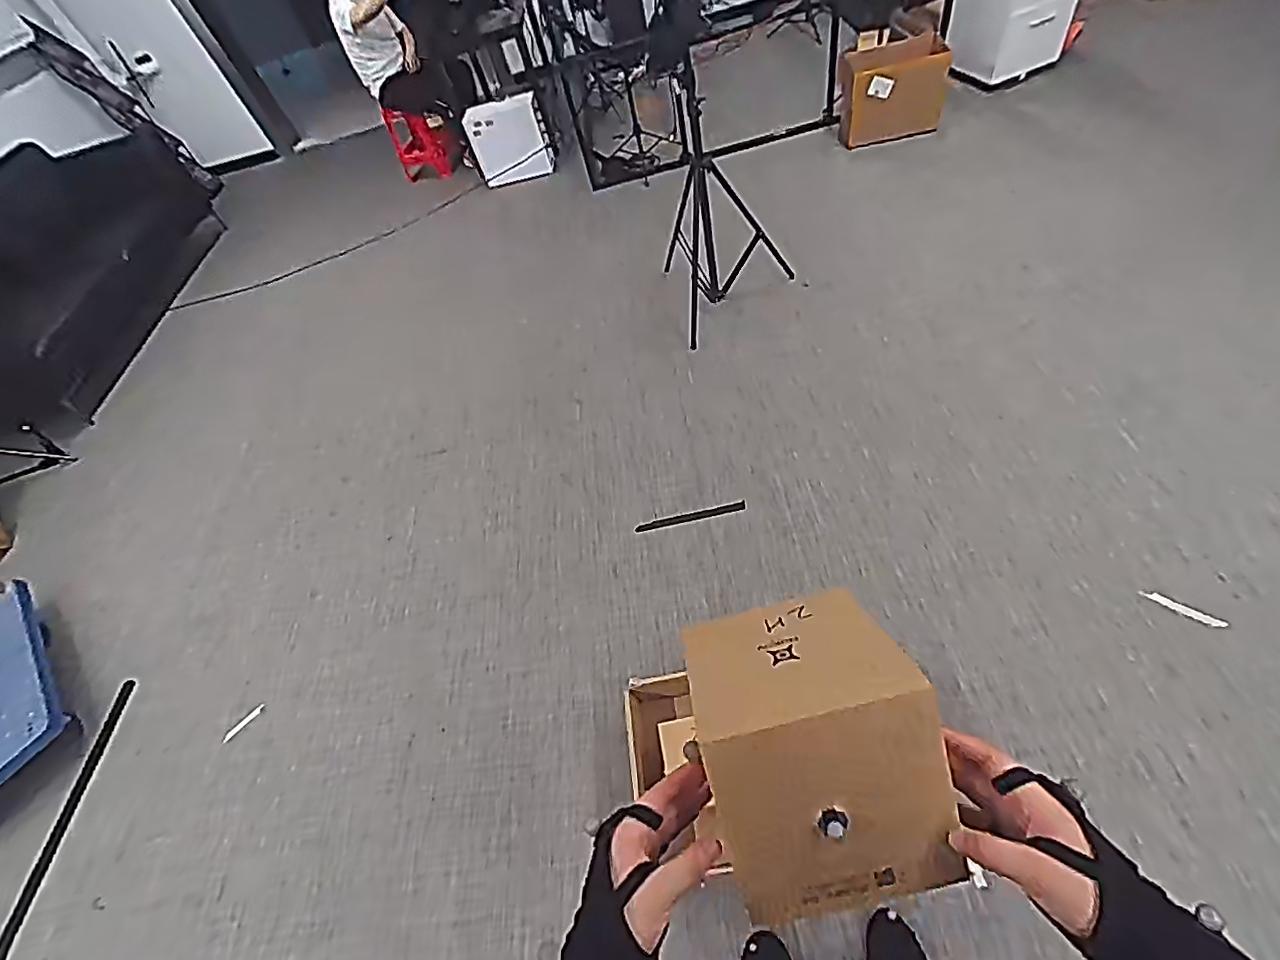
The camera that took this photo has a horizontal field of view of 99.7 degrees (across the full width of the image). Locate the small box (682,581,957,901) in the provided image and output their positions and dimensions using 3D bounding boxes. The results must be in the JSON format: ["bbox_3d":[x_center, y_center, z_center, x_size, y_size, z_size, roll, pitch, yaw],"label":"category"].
[{"bbox_3d":[0.141,0.215,0.463,0.168,0.176,0.179,-15,13,3],"label":"small box"}]
